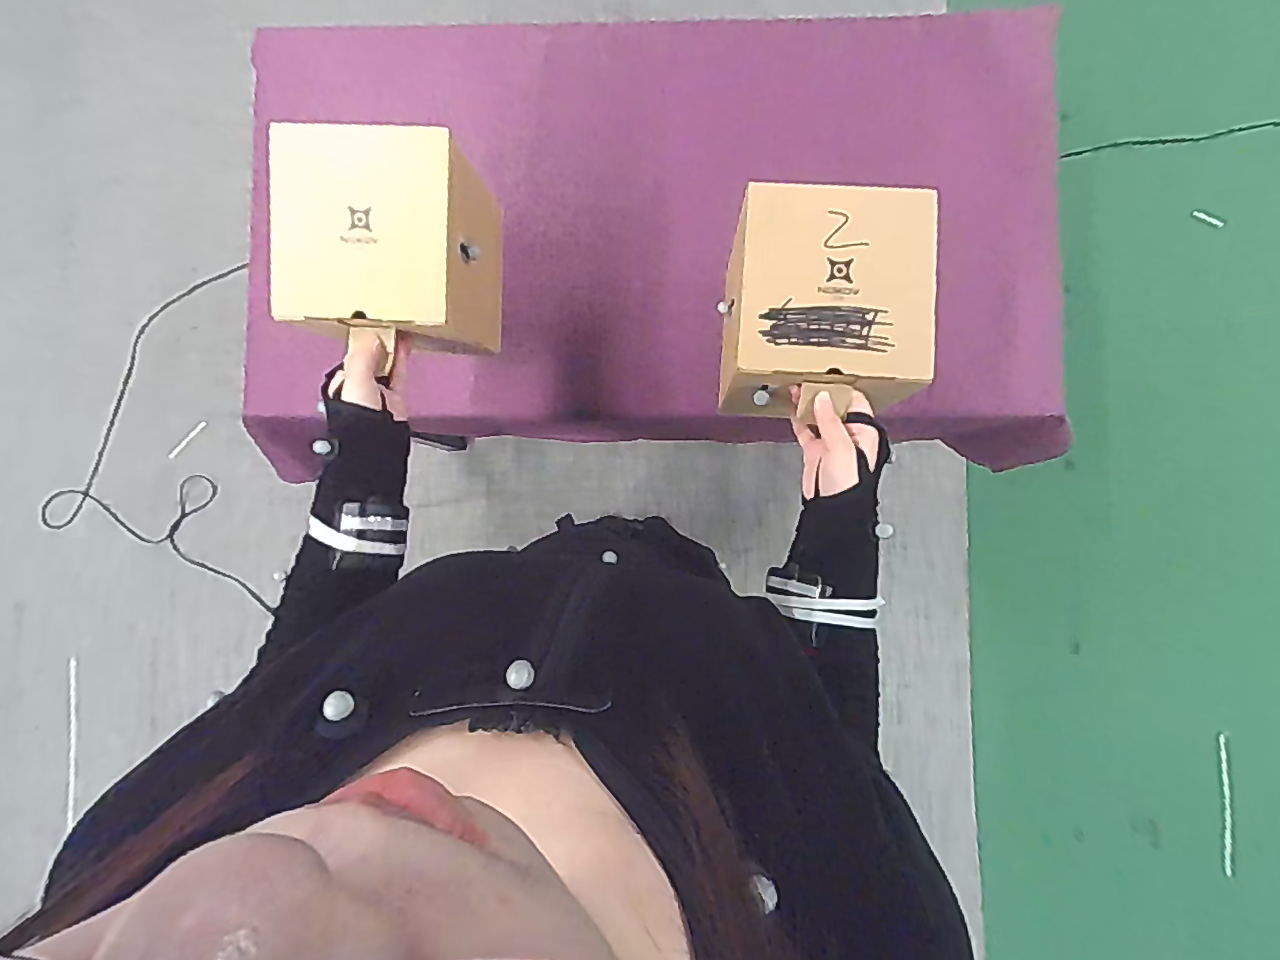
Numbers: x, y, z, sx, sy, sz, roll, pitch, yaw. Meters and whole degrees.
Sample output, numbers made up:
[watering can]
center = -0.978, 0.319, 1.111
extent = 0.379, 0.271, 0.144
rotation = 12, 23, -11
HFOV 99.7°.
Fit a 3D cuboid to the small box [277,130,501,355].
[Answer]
[small box]
center = -0.255, -0.240, 0.585
extent = 0.168, 0.176, 0.179
rotation = 2, 95, 1
